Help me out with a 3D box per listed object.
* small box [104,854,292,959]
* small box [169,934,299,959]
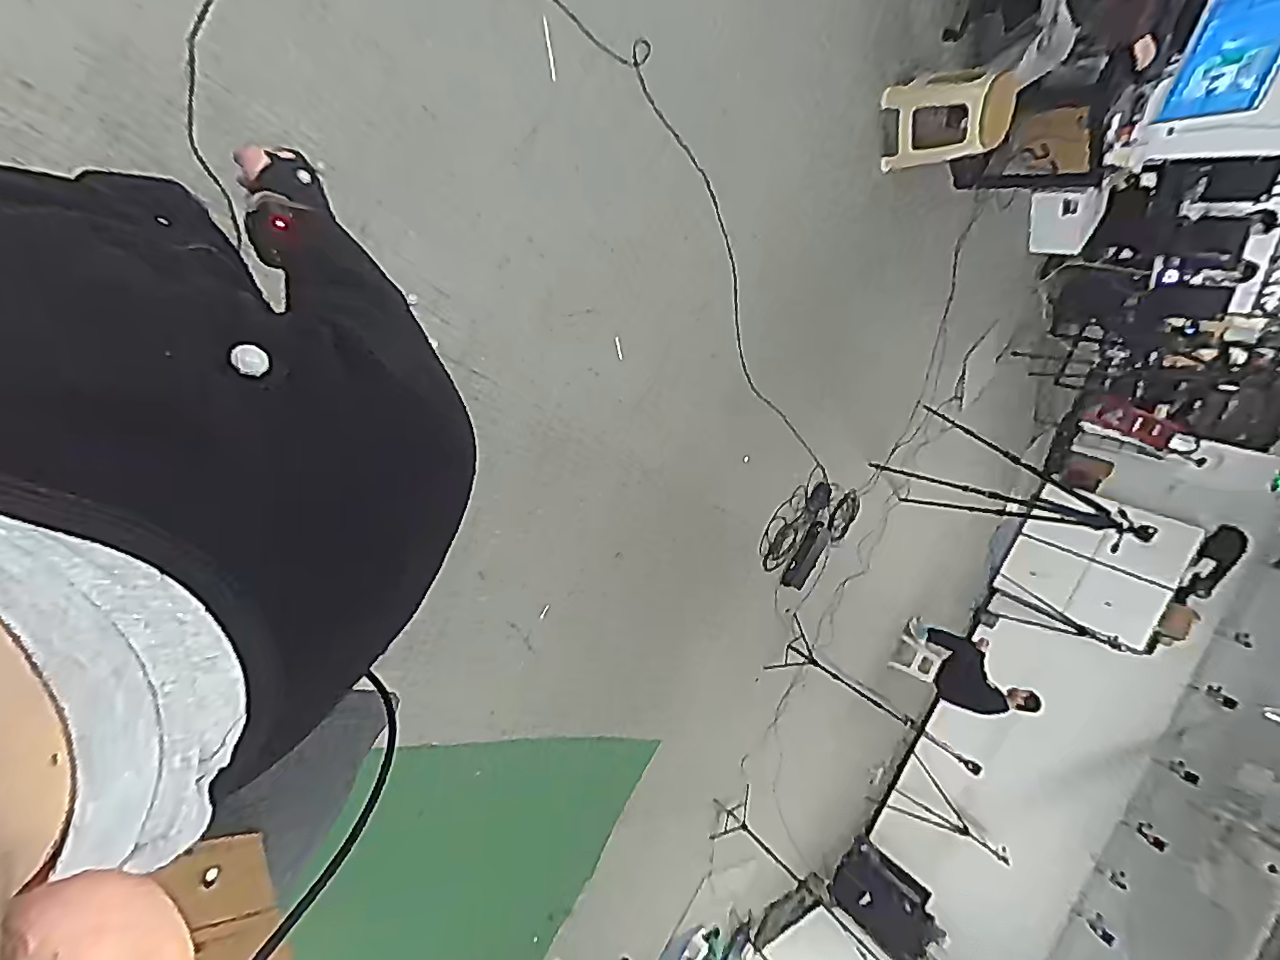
[{"bbox_3d":[-0.656,0.690,0.797,0.168,0.176,0.179,27,89,-46],"label":"small box"},{"bbox_3d":[-0.544,0.729,0.684,0.168,0.176,0.179,24,92,-46],"label":"small box"}]
